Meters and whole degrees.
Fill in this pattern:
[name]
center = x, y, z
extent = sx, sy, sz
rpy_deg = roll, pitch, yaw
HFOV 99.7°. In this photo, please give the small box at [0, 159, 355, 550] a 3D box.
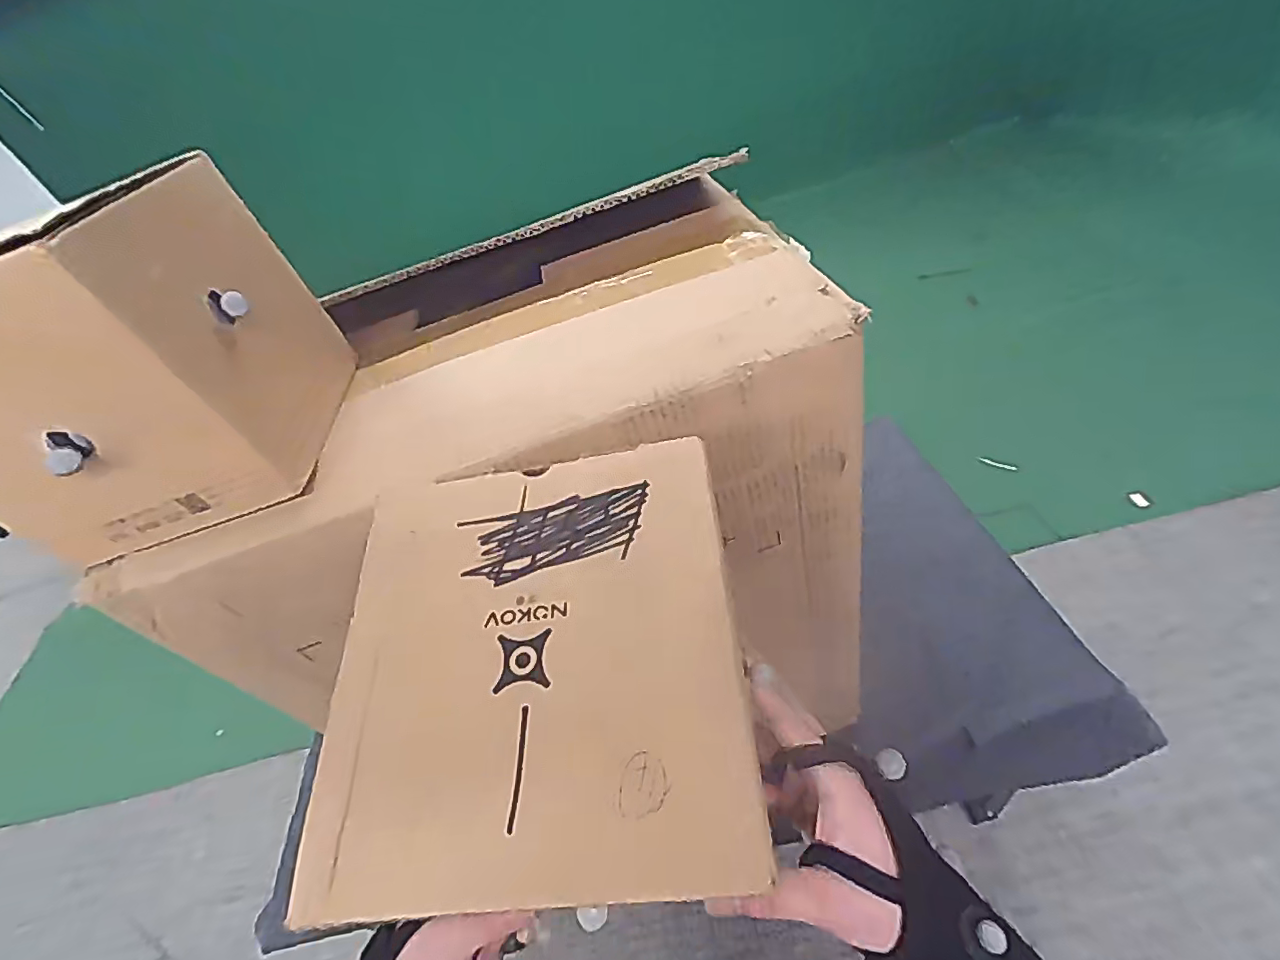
[small box]
center = -0.323, -0.075, 0.358
extent = 0.168, 0.176, 0.179
rpy_deg = -18, 44, 3
